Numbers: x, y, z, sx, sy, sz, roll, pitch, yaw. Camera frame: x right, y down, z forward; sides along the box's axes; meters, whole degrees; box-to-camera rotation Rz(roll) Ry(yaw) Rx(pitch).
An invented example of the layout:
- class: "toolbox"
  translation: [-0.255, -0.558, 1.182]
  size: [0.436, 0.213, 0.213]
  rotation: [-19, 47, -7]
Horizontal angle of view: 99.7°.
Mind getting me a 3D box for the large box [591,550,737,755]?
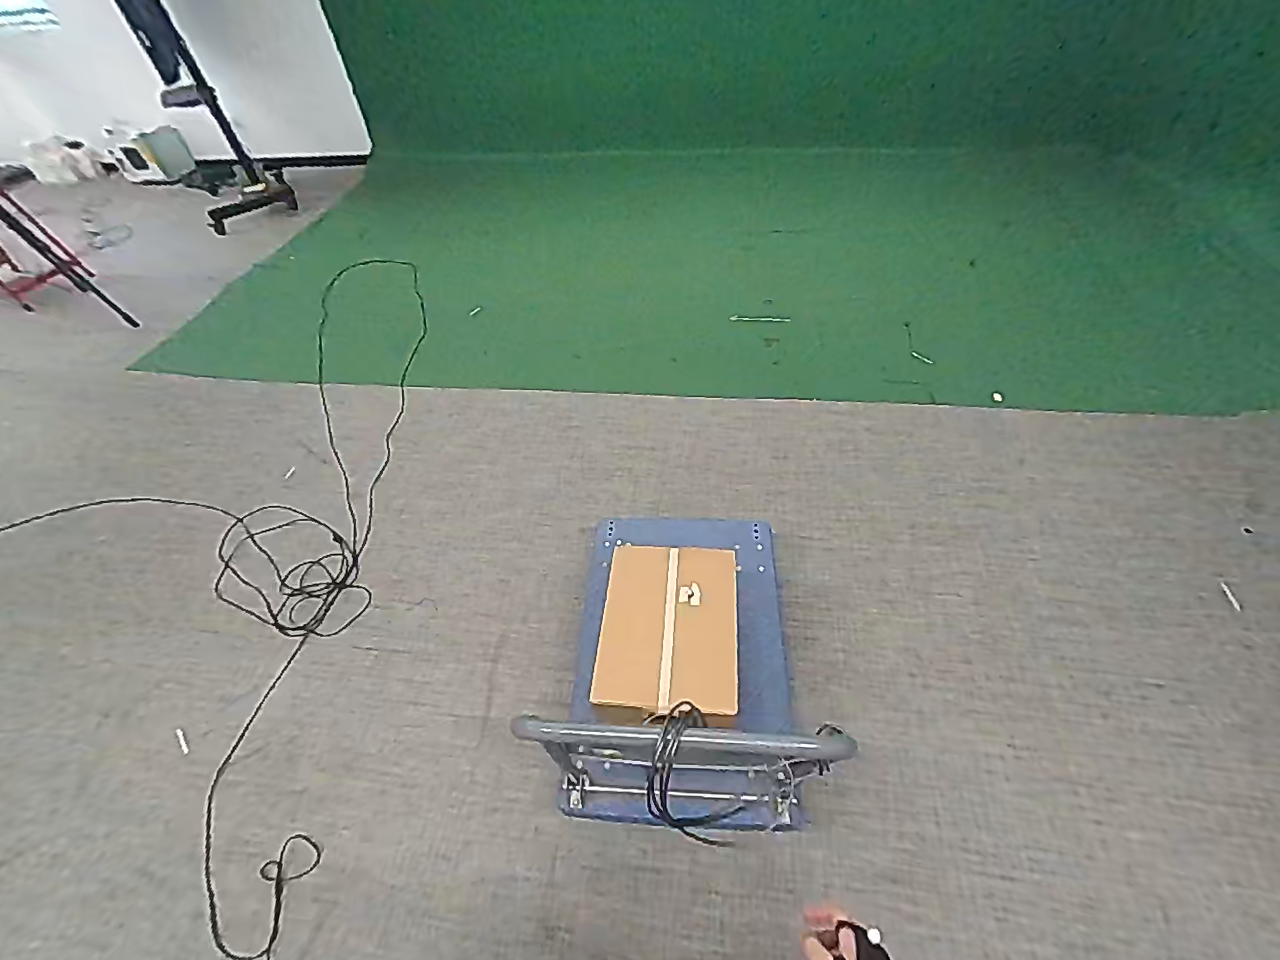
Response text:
- class: "large box"
  translation: [0.075, 0.431, 1.366]
  size: [0.320, 0.320, 0.408]
  rotation: [2, 48, 6]
